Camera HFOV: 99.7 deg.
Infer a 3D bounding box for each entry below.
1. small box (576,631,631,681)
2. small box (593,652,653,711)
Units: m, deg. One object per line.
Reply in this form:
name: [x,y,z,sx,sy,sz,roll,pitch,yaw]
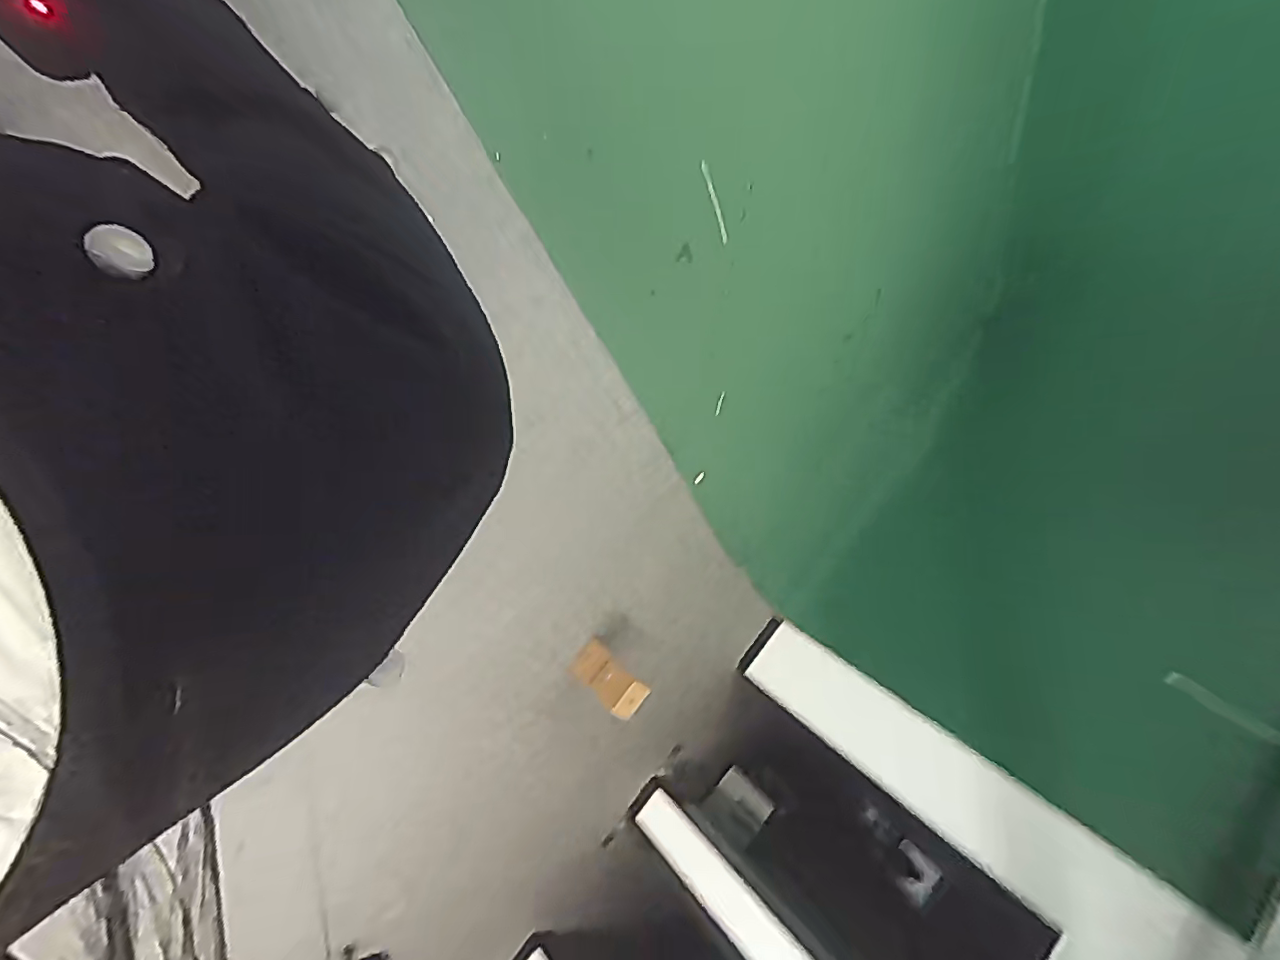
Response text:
small box: [-0.180,0.847,2.547,0.179,0.176,0.168,-50,141,-10]
small box: [-0.078,0.904,2.431,0.168,0.176,0.179,-52,139,-11]
